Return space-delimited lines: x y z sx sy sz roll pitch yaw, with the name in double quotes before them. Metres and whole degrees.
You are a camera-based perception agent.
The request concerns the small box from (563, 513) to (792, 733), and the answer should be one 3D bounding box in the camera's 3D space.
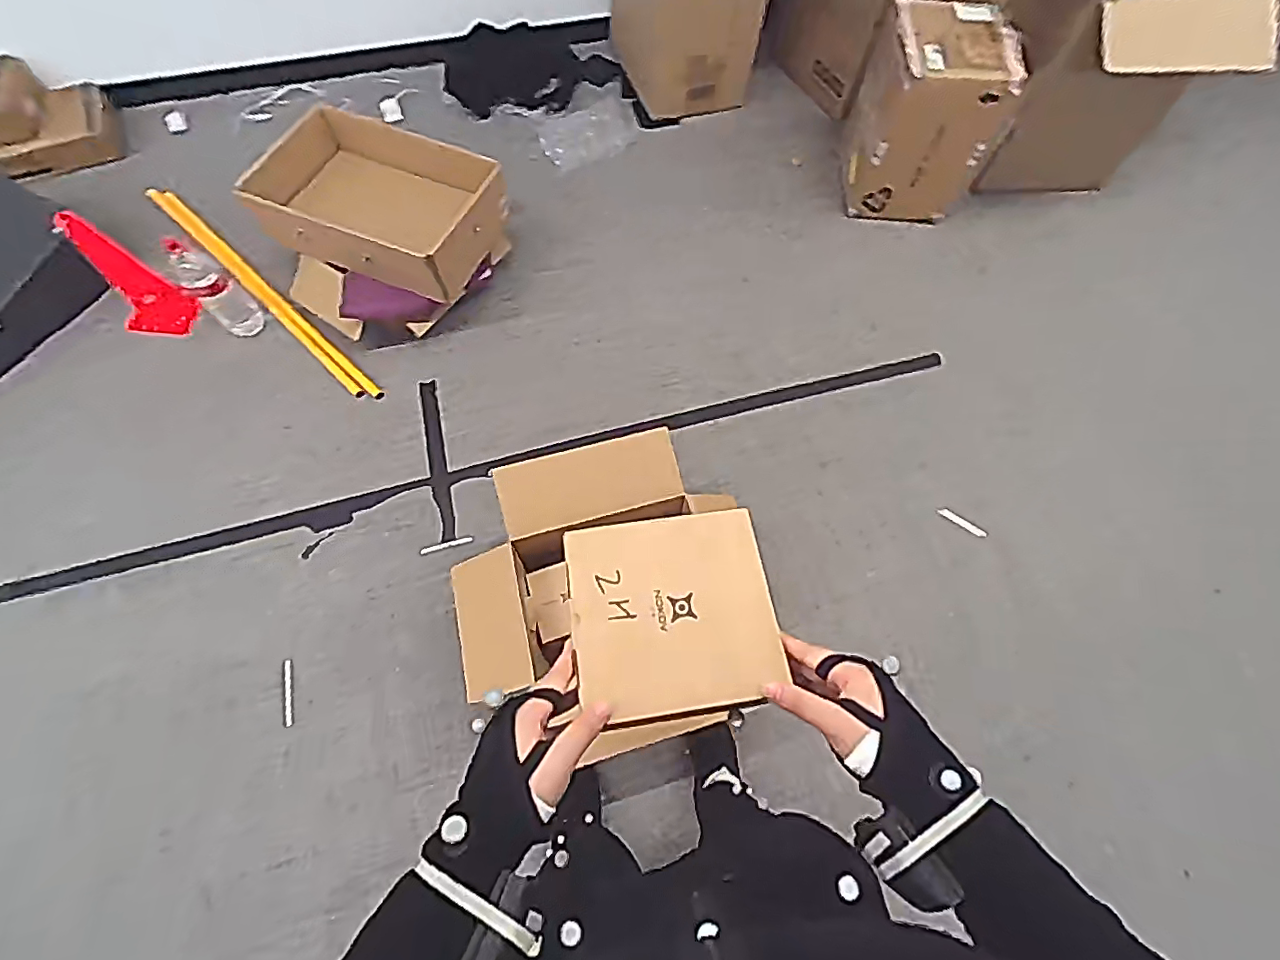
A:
"small box" 0.025 0.148 0.536 0.179 0.176 0.168 -8 64 -5
